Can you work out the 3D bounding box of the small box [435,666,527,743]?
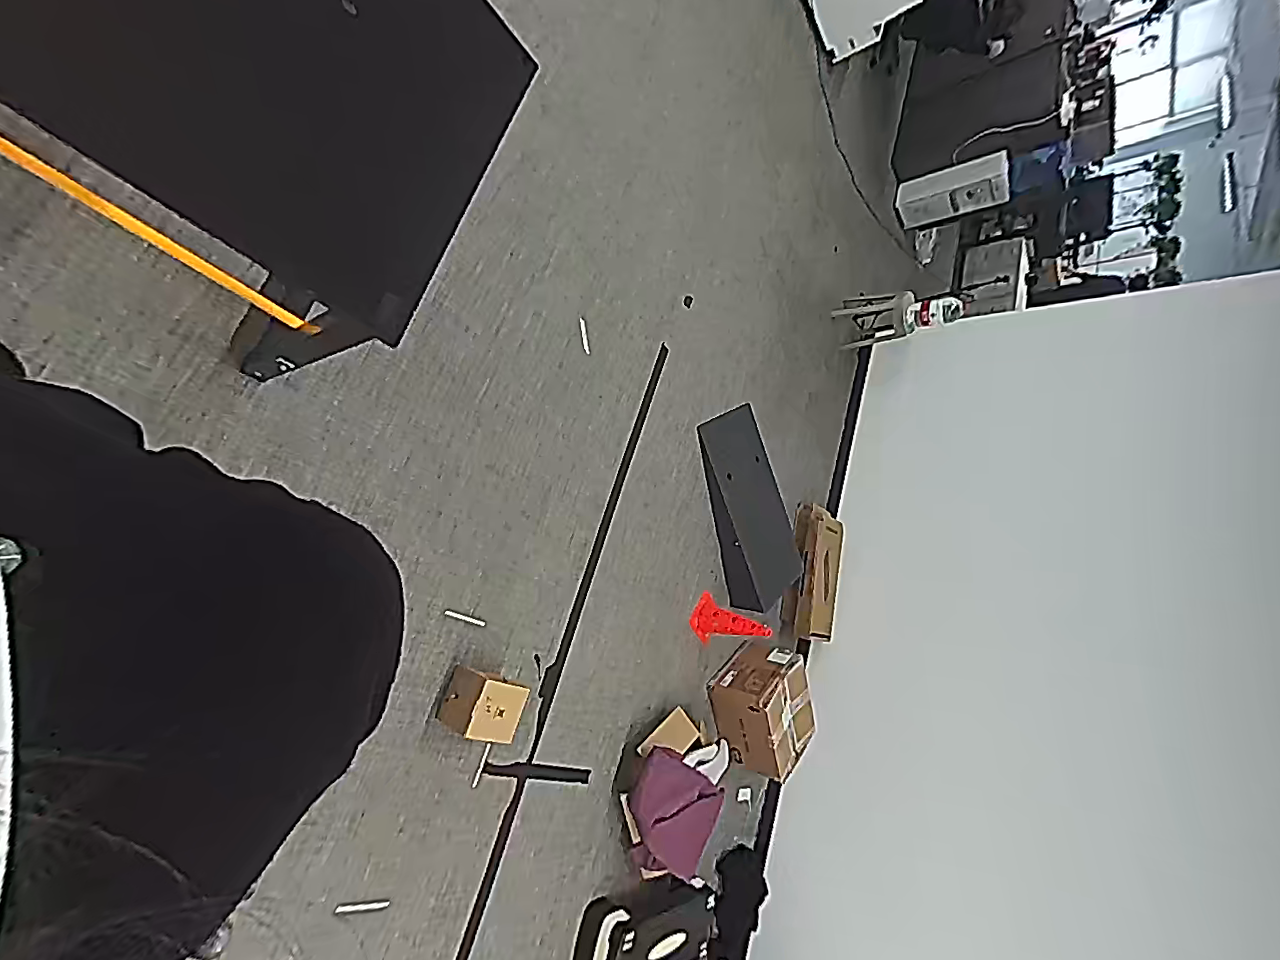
[{"bbox_3d":[-0.485,0.682,1.650,0.179,0.176,0.168,36,65,-42],"label":"small box"}]
